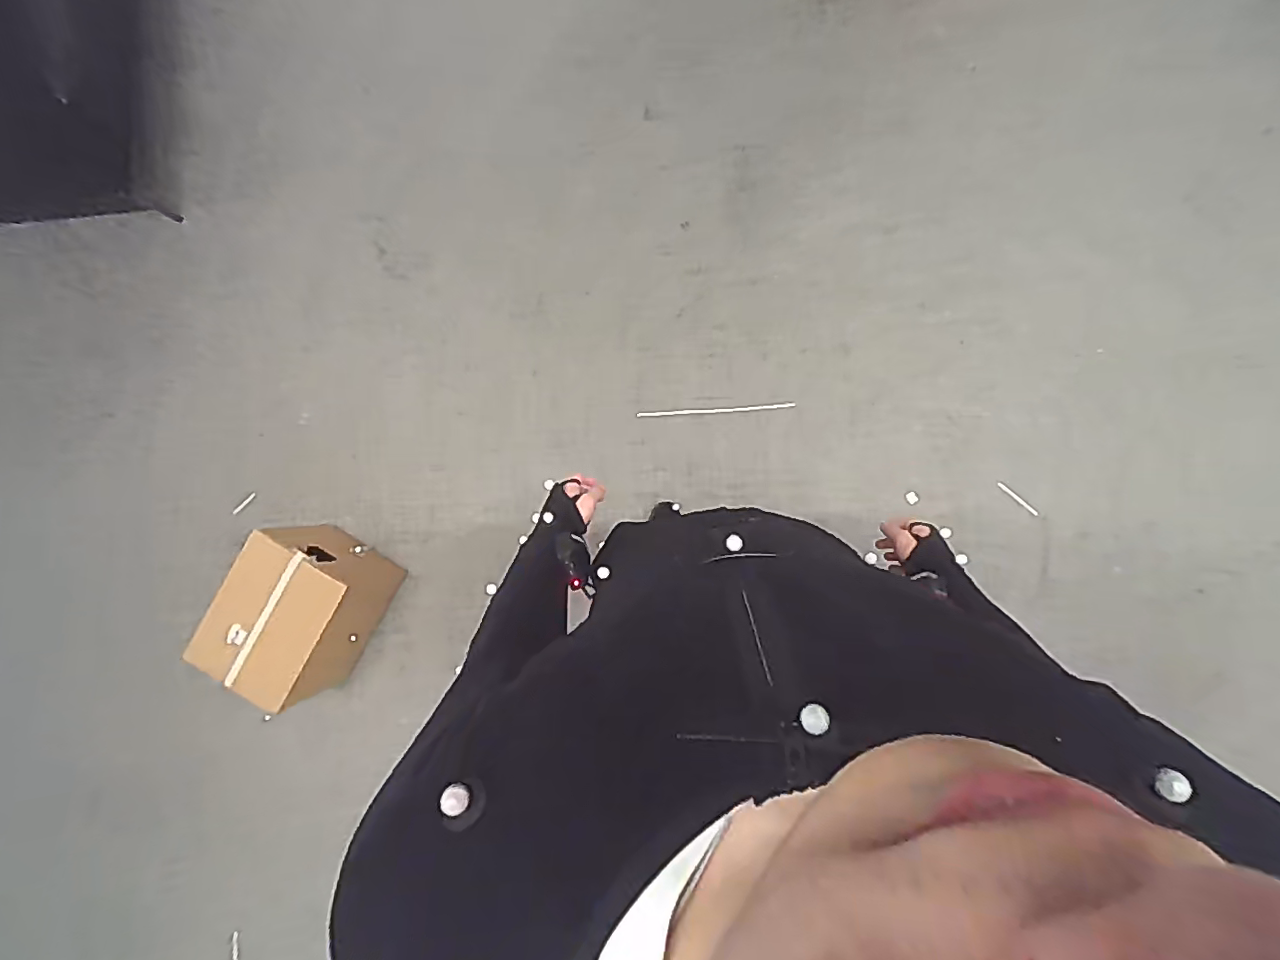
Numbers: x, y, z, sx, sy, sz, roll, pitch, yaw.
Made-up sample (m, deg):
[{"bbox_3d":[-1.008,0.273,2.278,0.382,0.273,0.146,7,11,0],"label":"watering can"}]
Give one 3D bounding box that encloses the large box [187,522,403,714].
[{"bbox_3d":[-0.976,0.374,1.576,0.320,0.320,0.408,29,92,6],"label":"large box"}]
